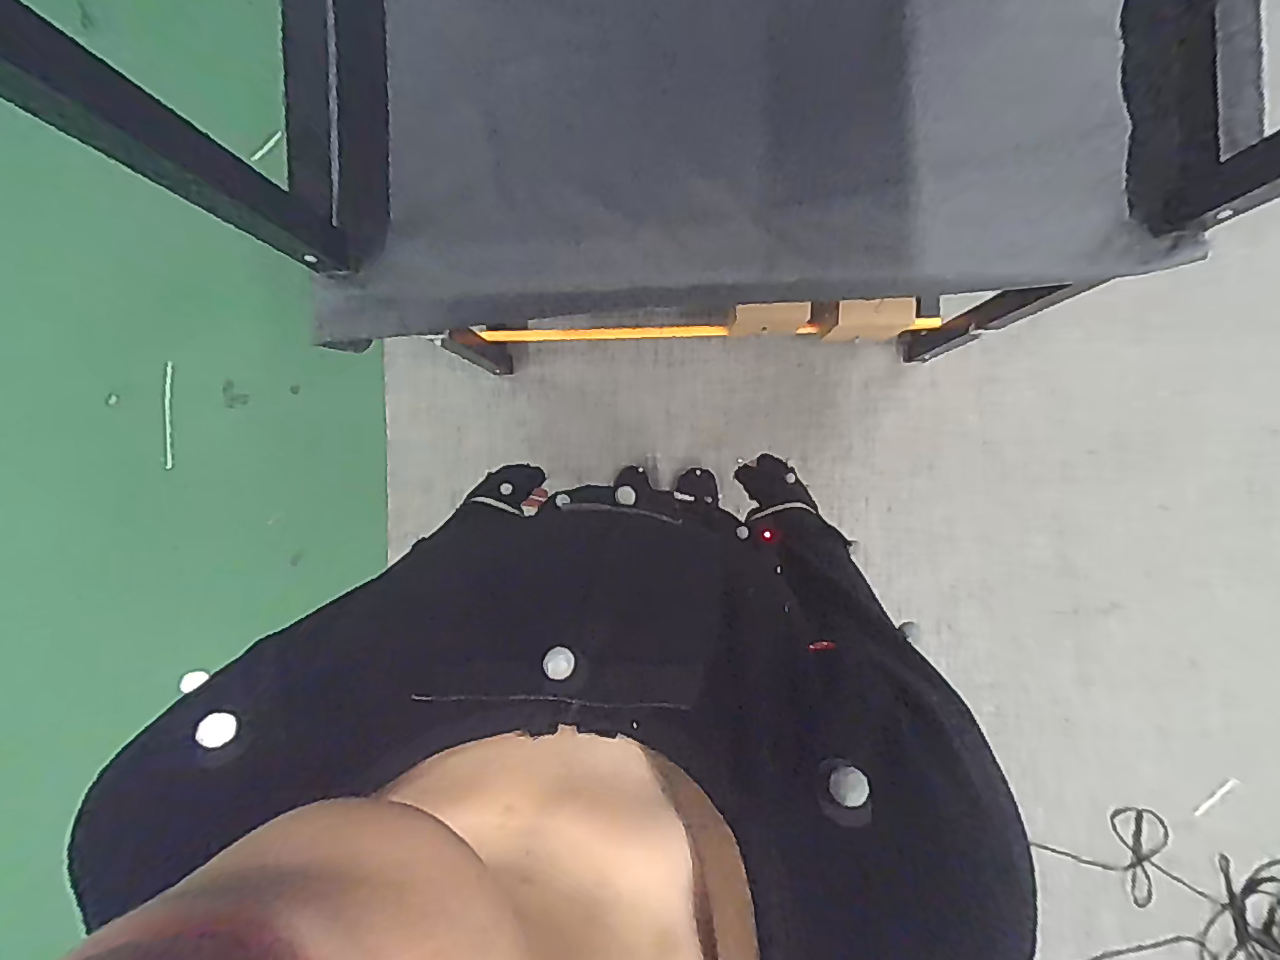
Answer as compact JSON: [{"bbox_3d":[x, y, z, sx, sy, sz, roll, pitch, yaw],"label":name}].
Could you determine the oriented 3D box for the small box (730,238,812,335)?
[{"bbox_3d":[0.303,-0.444,1.269,0.168,0.176,0.179,-1,92,5],"label":"small box"}]
